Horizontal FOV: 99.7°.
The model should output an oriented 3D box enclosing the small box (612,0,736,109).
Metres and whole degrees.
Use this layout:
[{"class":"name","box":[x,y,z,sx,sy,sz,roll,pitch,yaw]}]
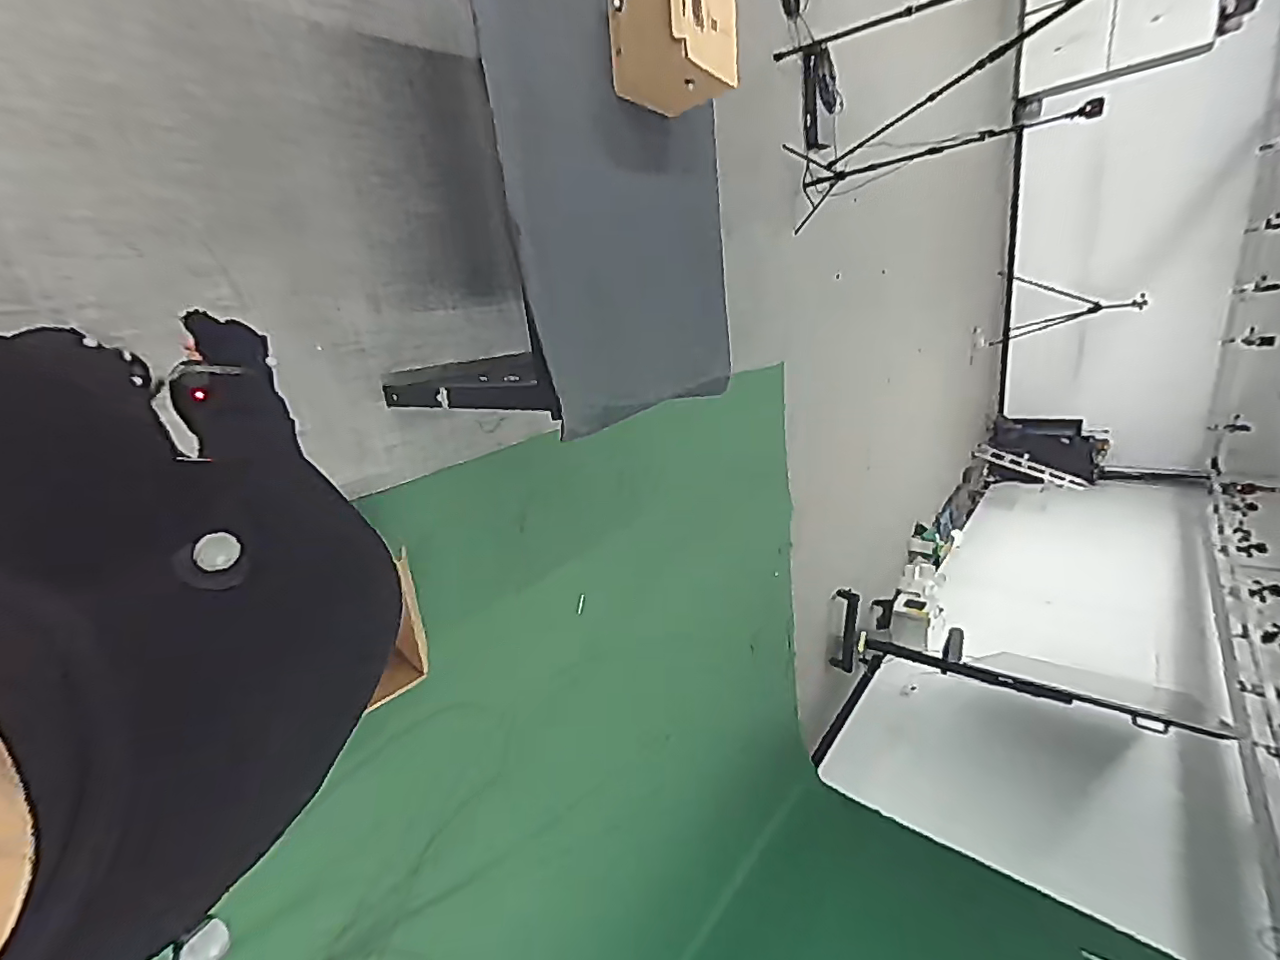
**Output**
[{"class":"small box","box":[0.060,-0.824,1.005,0.179,0.176,0.168,-20,111,-47]}]
